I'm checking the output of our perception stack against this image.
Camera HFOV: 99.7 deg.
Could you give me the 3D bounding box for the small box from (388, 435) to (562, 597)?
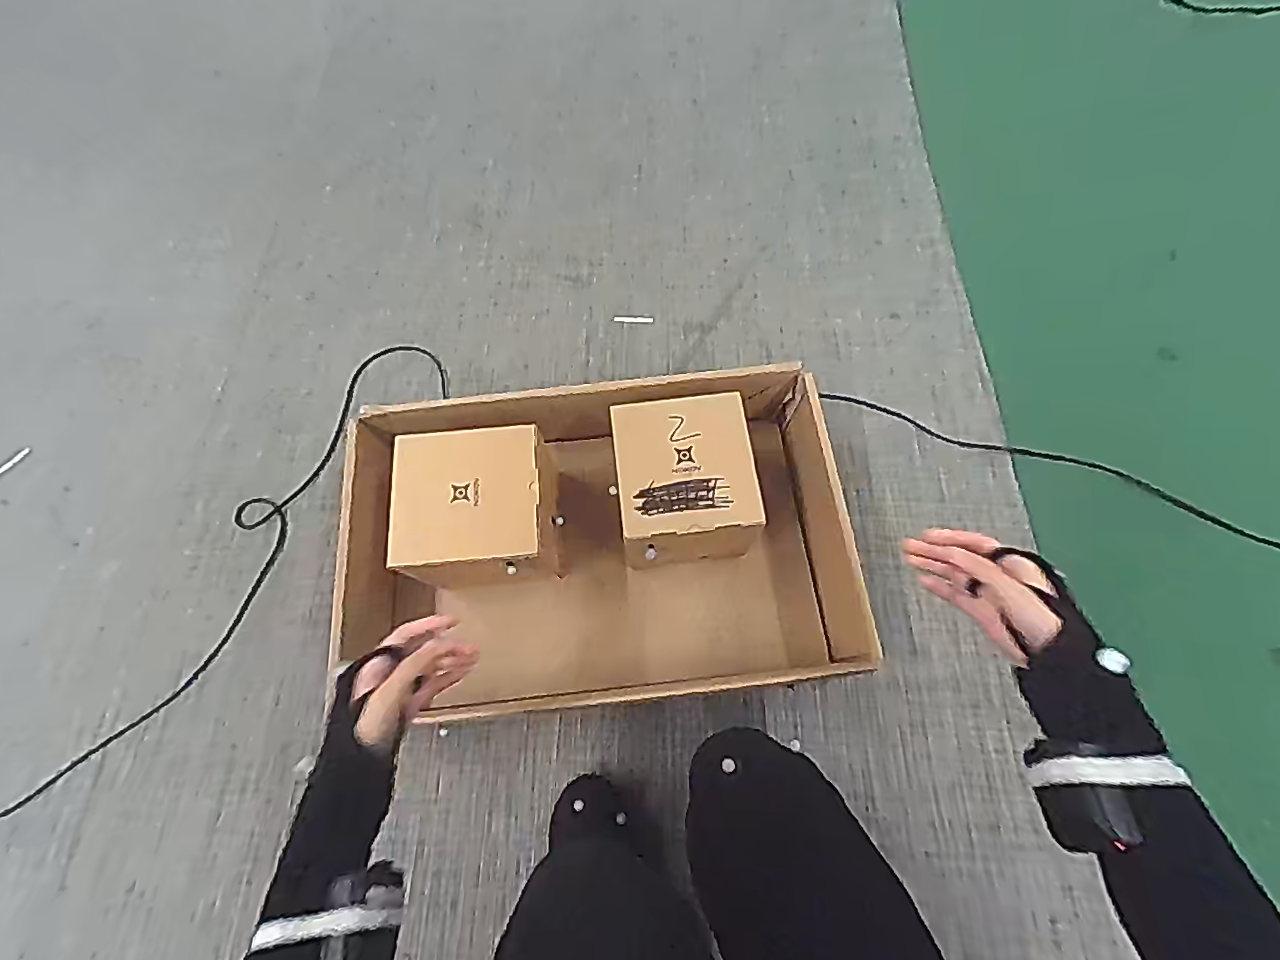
[{"bbox_3d":[-0.206,0.056,0.717,0.179,0.176,0.168,-5,70,-1],"label":"small box"}]
